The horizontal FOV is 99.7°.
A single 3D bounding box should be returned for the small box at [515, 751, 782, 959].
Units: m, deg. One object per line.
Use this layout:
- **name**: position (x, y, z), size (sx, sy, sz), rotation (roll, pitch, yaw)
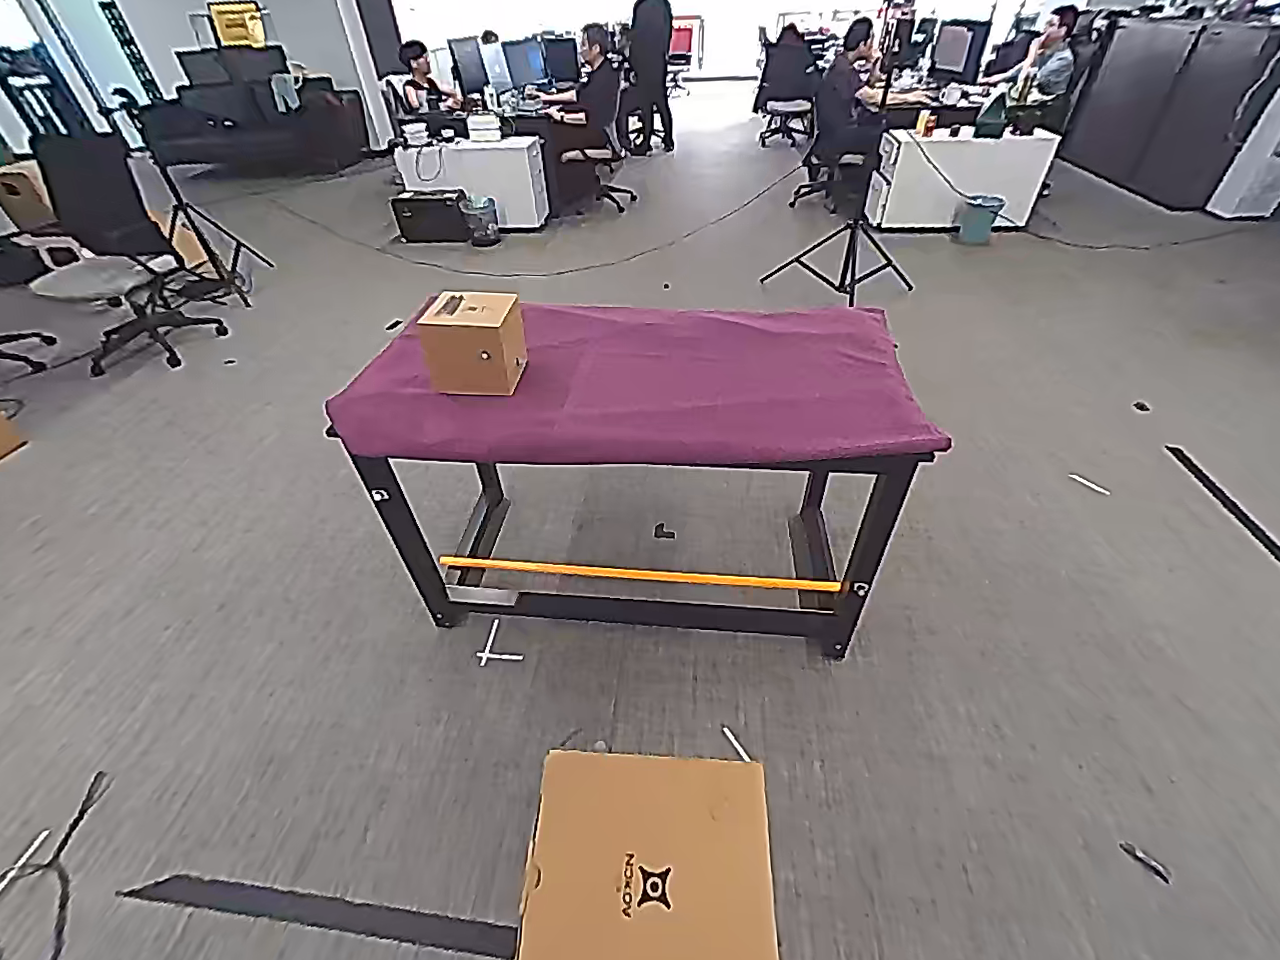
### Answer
- **small box**: position (0.012, 0.331, 0.438), size (0.179, 0.176, 0.168), rotation (-1, 51, 5)
